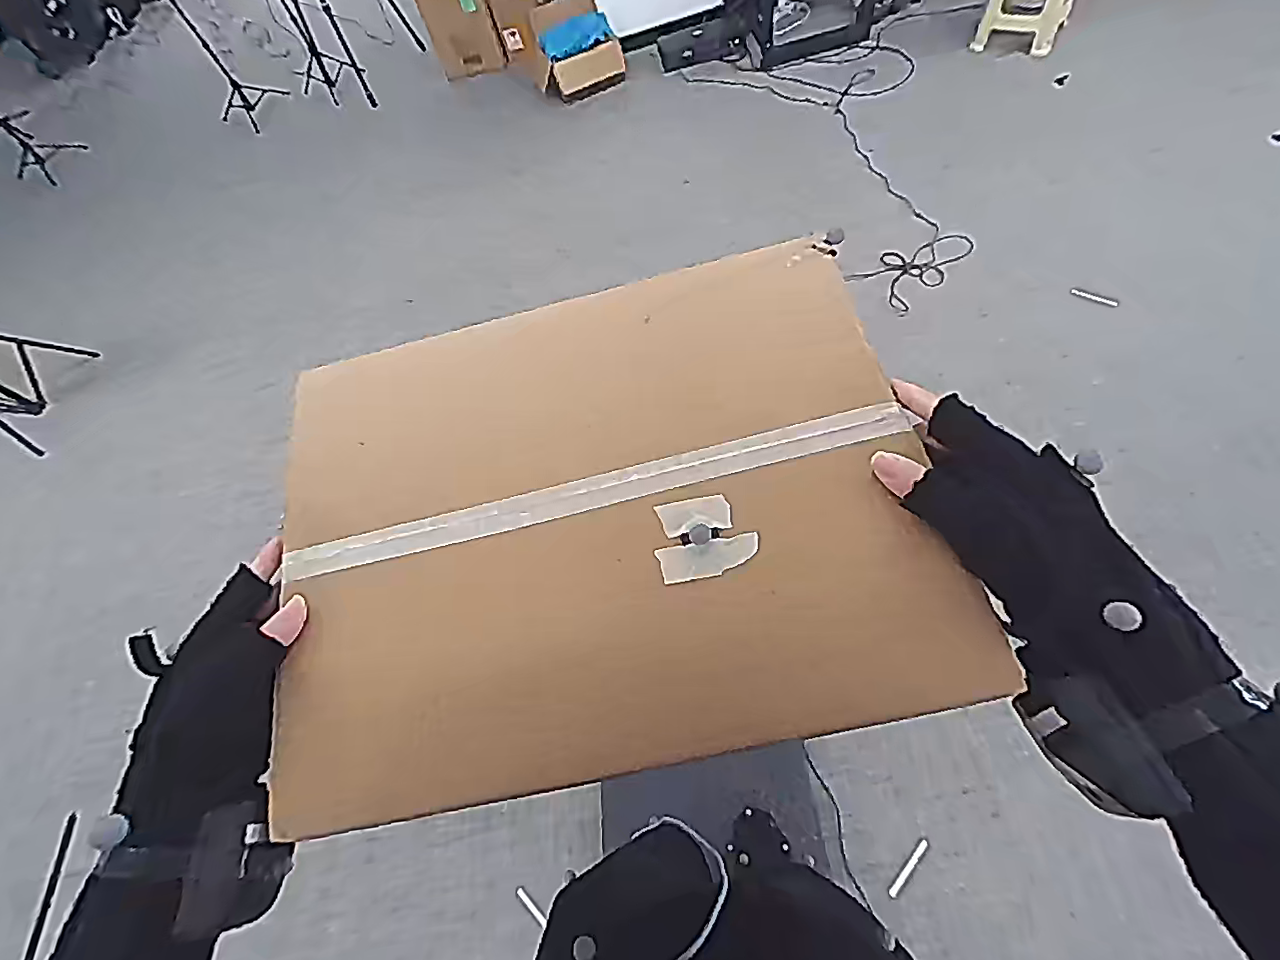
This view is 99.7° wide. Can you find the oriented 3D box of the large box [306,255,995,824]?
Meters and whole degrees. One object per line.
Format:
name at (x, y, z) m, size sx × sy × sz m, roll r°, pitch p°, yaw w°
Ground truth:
large box at (-0.009, 0.070, 0.493) m, size 0.408 × 0.320 × 0.320 m, roll -14°, pitch 67°, yaw 3°
